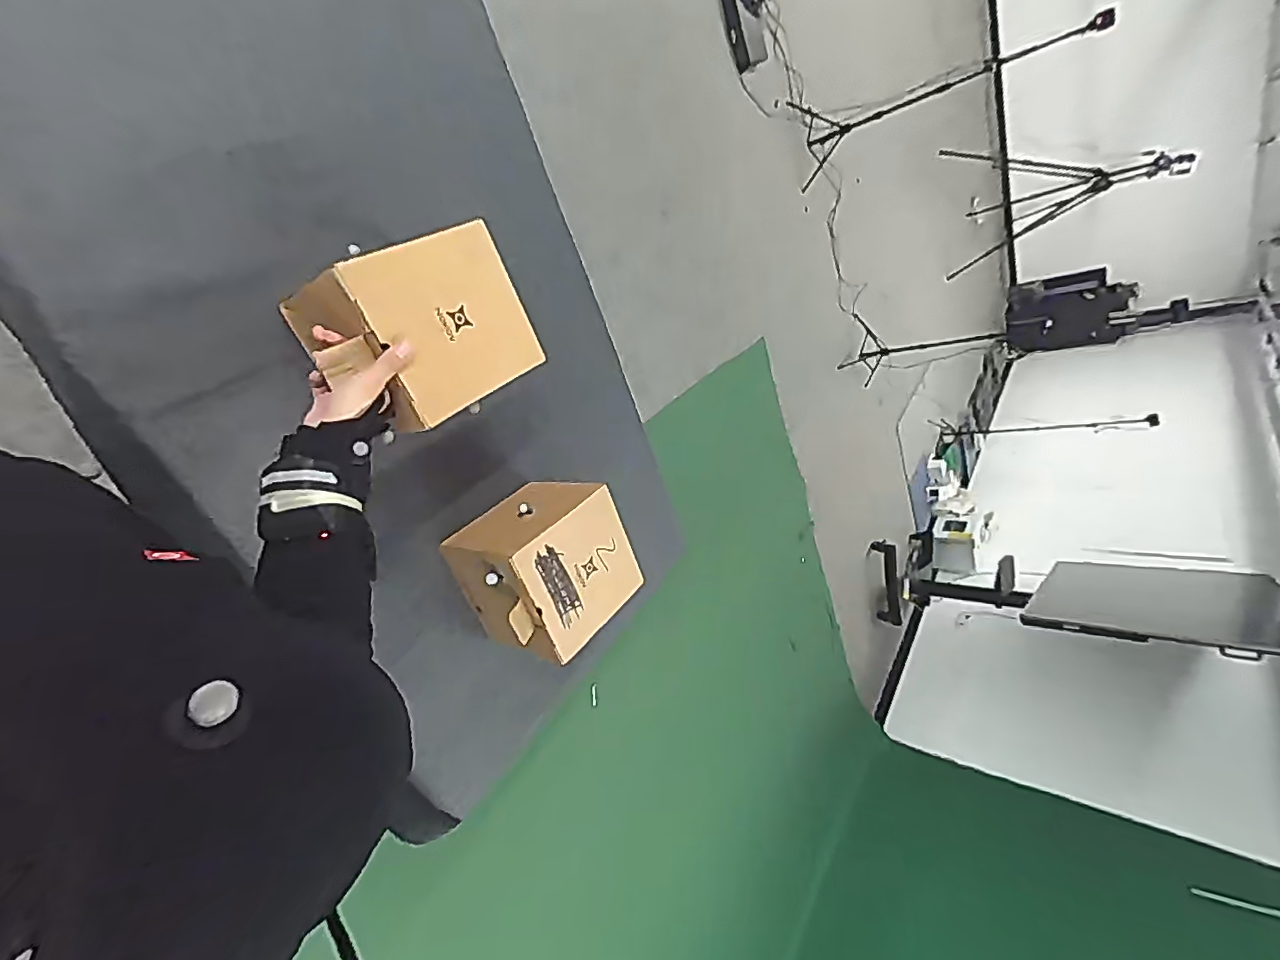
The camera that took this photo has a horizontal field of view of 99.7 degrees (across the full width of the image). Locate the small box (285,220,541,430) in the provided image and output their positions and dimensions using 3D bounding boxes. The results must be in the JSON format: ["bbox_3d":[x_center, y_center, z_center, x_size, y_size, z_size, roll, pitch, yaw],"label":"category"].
[{"bbox_3d":[-0.253,-0.168,0.613,0.179,0.176,0.168,-44,122,-38],"label":"small box"}]
